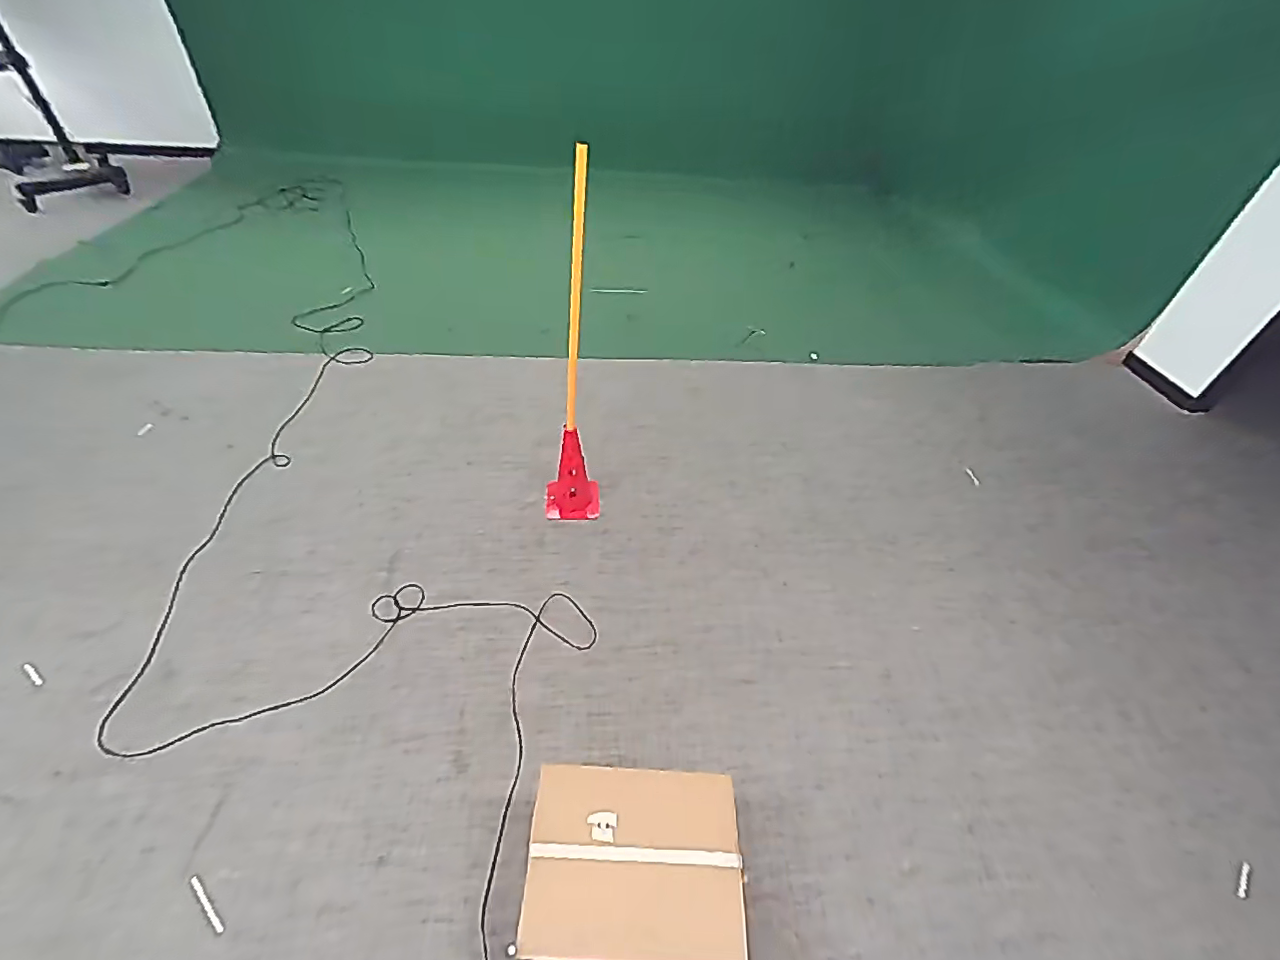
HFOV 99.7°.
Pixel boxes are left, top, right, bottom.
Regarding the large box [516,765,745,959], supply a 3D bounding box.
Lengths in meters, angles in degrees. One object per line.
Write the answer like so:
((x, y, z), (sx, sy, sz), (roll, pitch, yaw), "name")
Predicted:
((-0.018, 0.824, 1.140), (0.408, 0.320, 0.320), (4, 44, 0), "large box")
